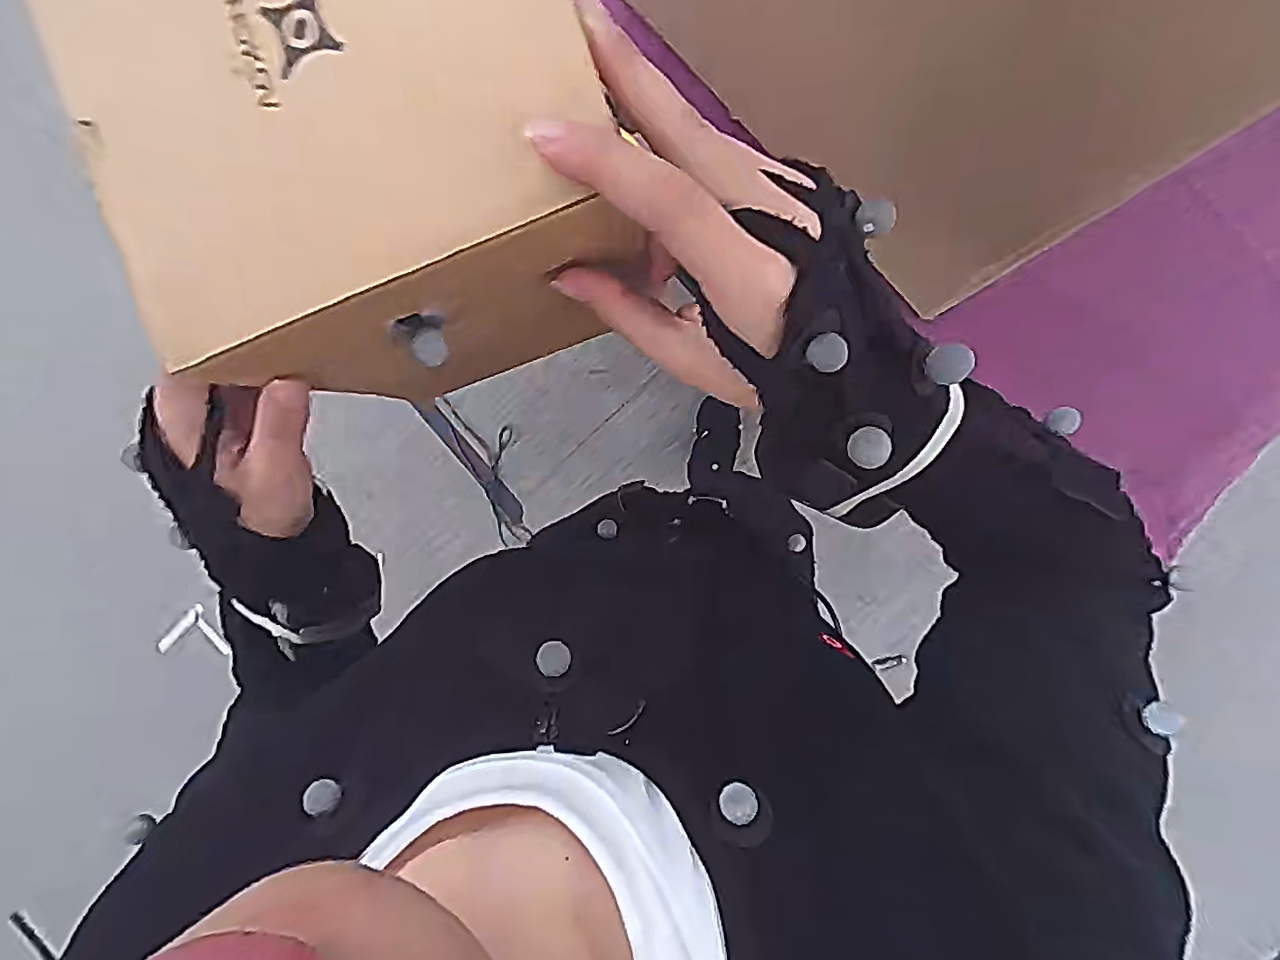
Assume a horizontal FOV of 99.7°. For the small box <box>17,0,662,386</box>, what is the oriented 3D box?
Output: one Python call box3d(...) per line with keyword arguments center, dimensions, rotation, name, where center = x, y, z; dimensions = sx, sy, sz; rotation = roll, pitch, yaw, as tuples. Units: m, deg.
box3d(center=(-0.095, -0.147, 0.242), dimensions=(0.179, 0.176, 0.168), rotation=(-17, 94, 11), name="small box")
